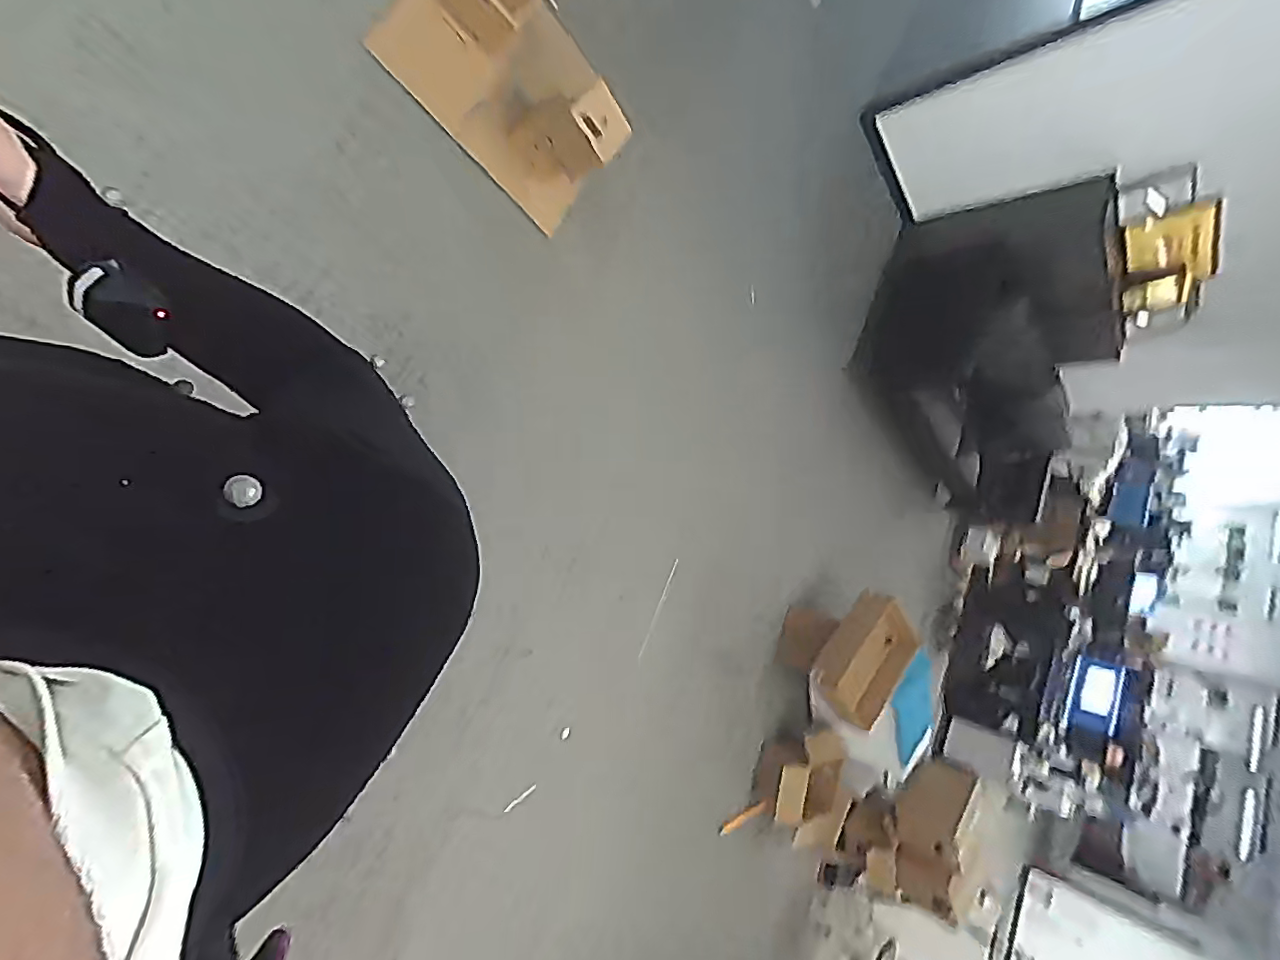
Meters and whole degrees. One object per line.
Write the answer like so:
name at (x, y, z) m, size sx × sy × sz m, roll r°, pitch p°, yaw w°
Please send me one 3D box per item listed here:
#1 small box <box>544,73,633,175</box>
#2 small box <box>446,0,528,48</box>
small box at (-0.159, -1.047, 1.606) m, size 0.168 × 0.176 × 0.179 m, roll 47°, pitch 64°, yaw -37°
small box at (-0.426, -1.400, 1.538) m, size 0.168 × 0.176 × 0.179 m, roll 27°, pitch 77°, yaw -42°
